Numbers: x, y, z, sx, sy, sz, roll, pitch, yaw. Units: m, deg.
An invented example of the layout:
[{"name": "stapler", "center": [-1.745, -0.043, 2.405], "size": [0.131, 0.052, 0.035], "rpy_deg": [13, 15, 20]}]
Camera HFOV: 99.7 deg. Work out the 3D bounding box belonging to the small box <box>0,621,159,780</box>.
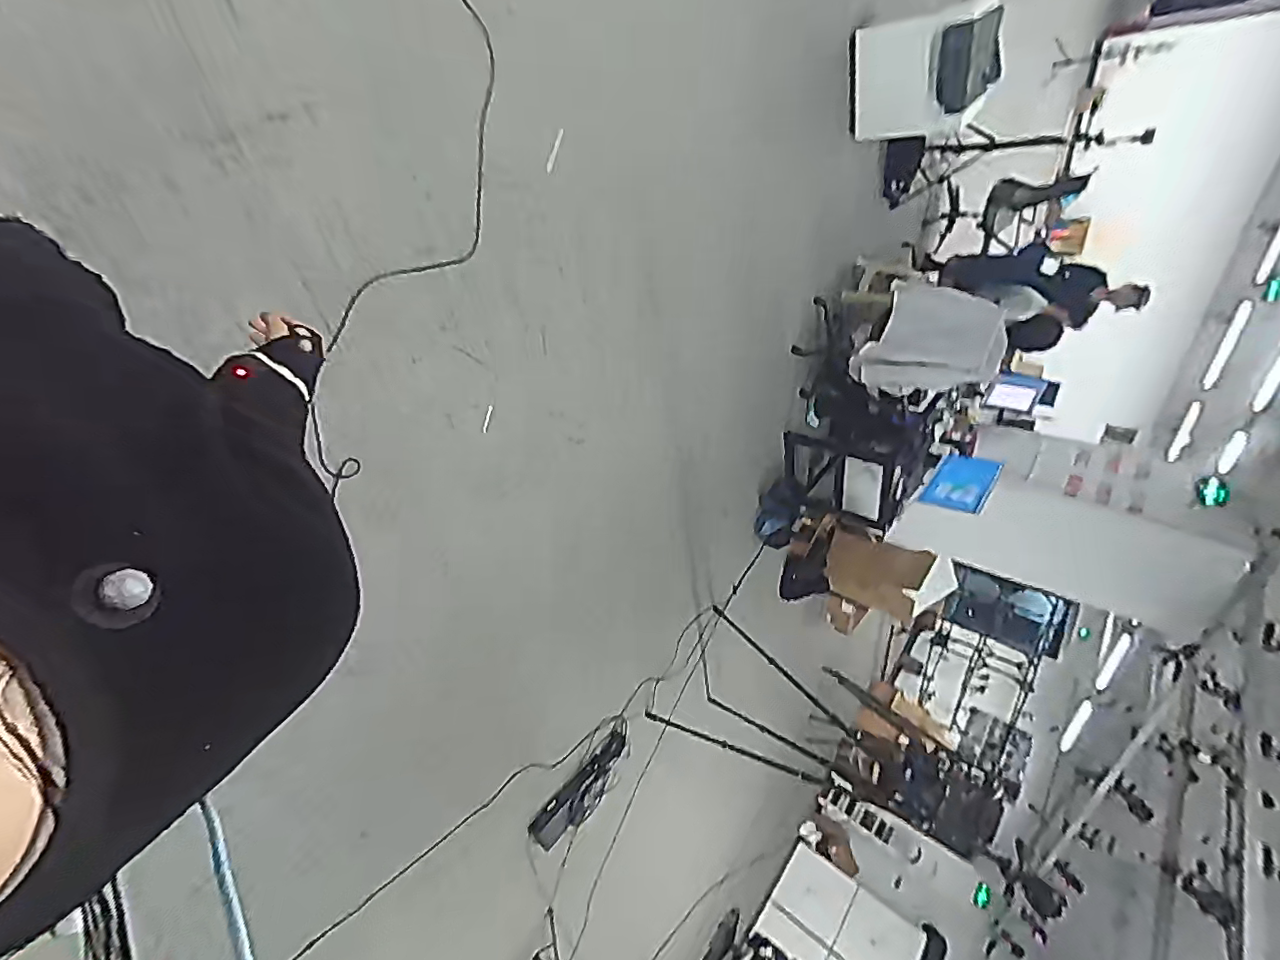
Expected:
[{"name": "small box", "center": [-1.028, 0.386, 0.971], "size": [0.168, 0.176, 0.179], "rpy_deg": [-43, 135, -31]}]
